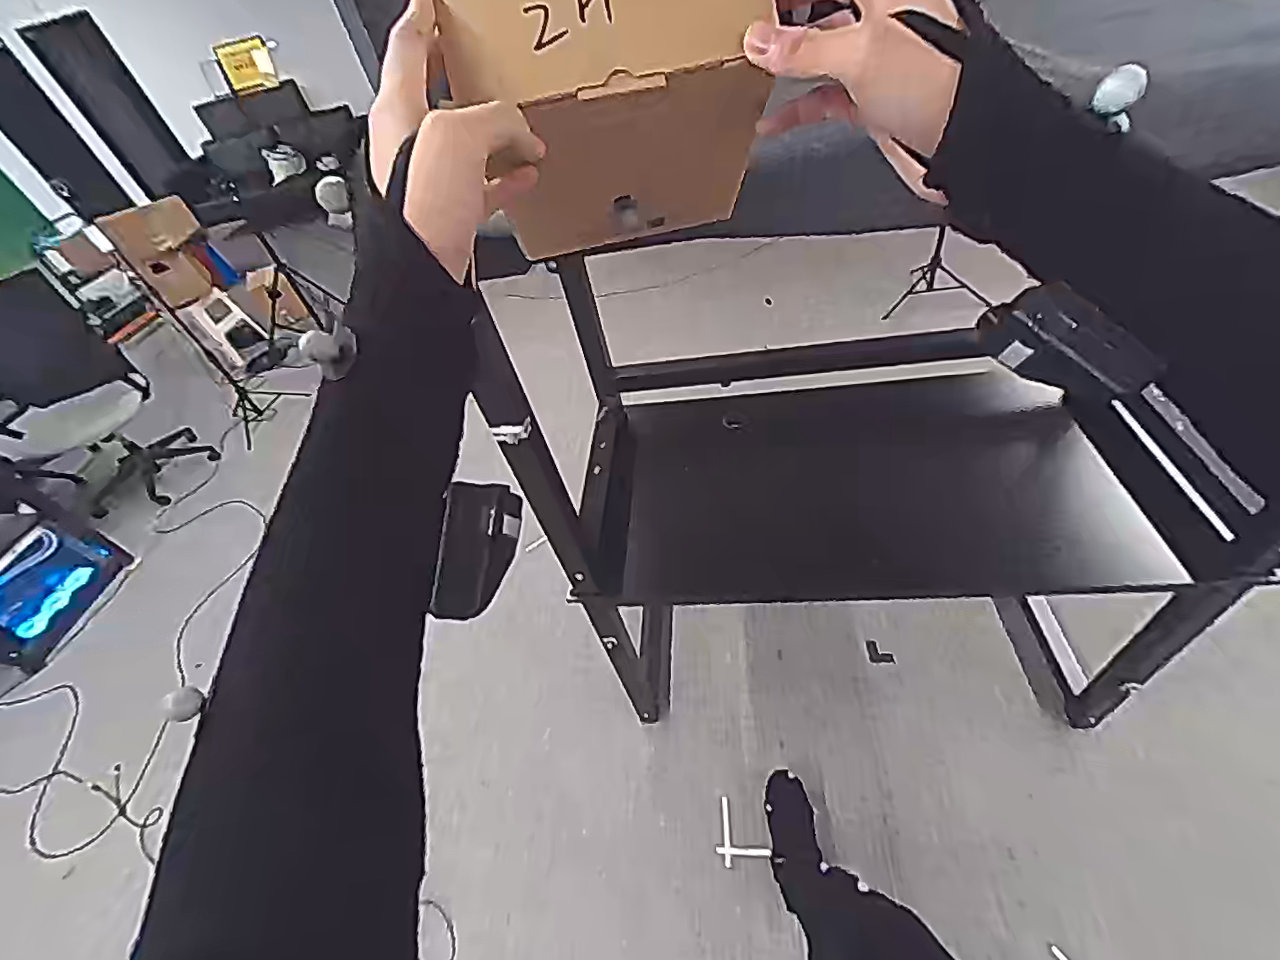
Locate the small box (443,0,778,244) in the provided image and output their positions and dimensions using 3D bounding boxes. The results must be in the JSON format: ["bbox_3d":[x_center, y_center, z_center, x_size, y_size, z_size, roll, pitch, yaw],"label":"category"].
[{"bbox_3d":[-0.026,-0.287,0.353,0.168,0.176,0.179,-11,89,0],"label":"small box"}]
